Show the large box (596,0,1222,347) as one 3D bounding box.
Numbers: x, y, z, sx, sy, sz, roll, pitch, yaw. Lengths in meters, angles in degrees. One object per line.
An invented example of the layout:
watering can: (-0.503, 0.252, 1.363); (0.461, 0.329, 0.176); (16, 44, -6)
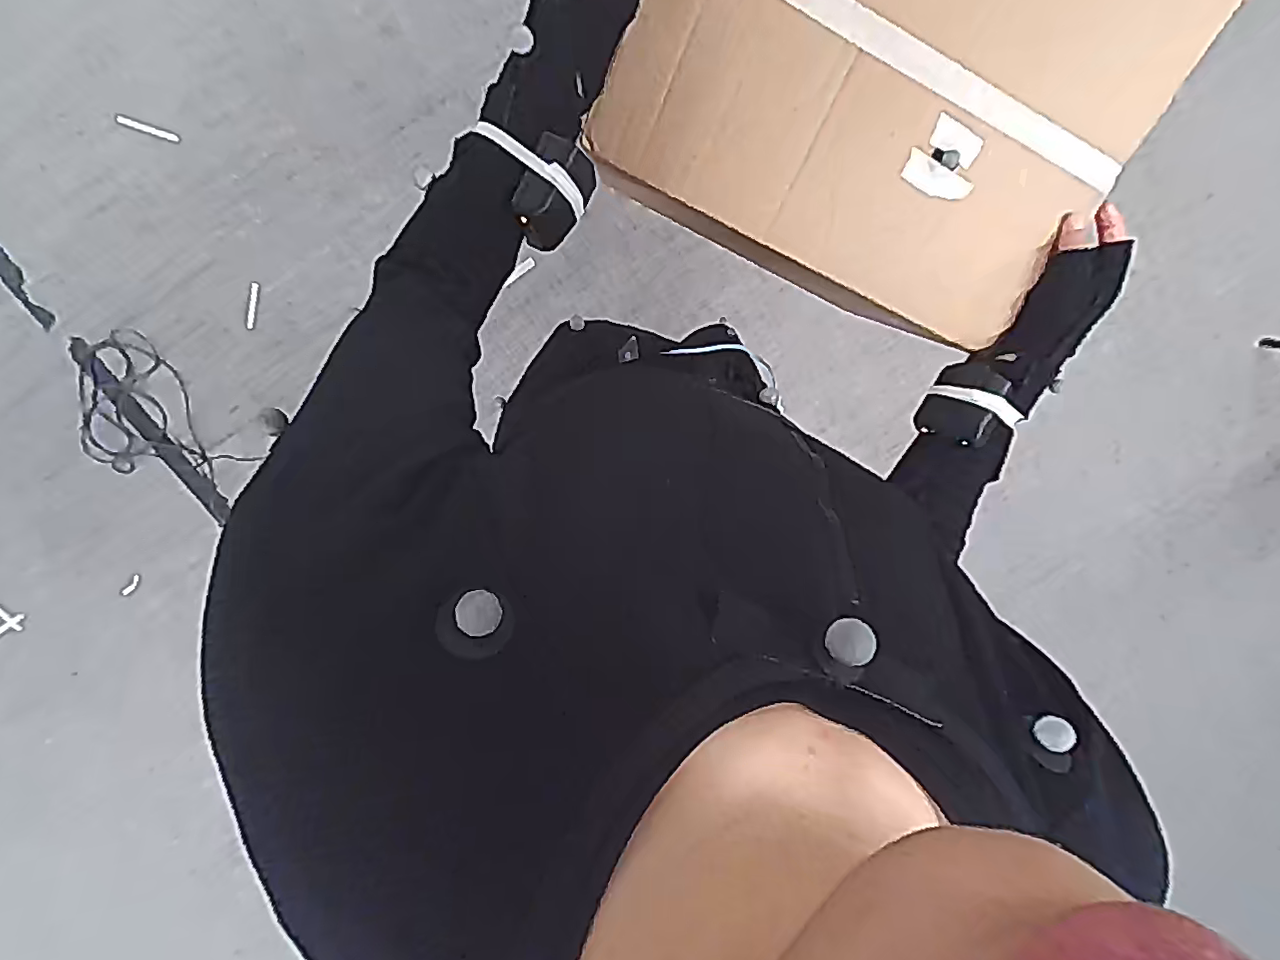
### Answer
large box: (0.197, -0.383, 0.553); (0.408, 0.320, 0.320); (22, 113, -12)
